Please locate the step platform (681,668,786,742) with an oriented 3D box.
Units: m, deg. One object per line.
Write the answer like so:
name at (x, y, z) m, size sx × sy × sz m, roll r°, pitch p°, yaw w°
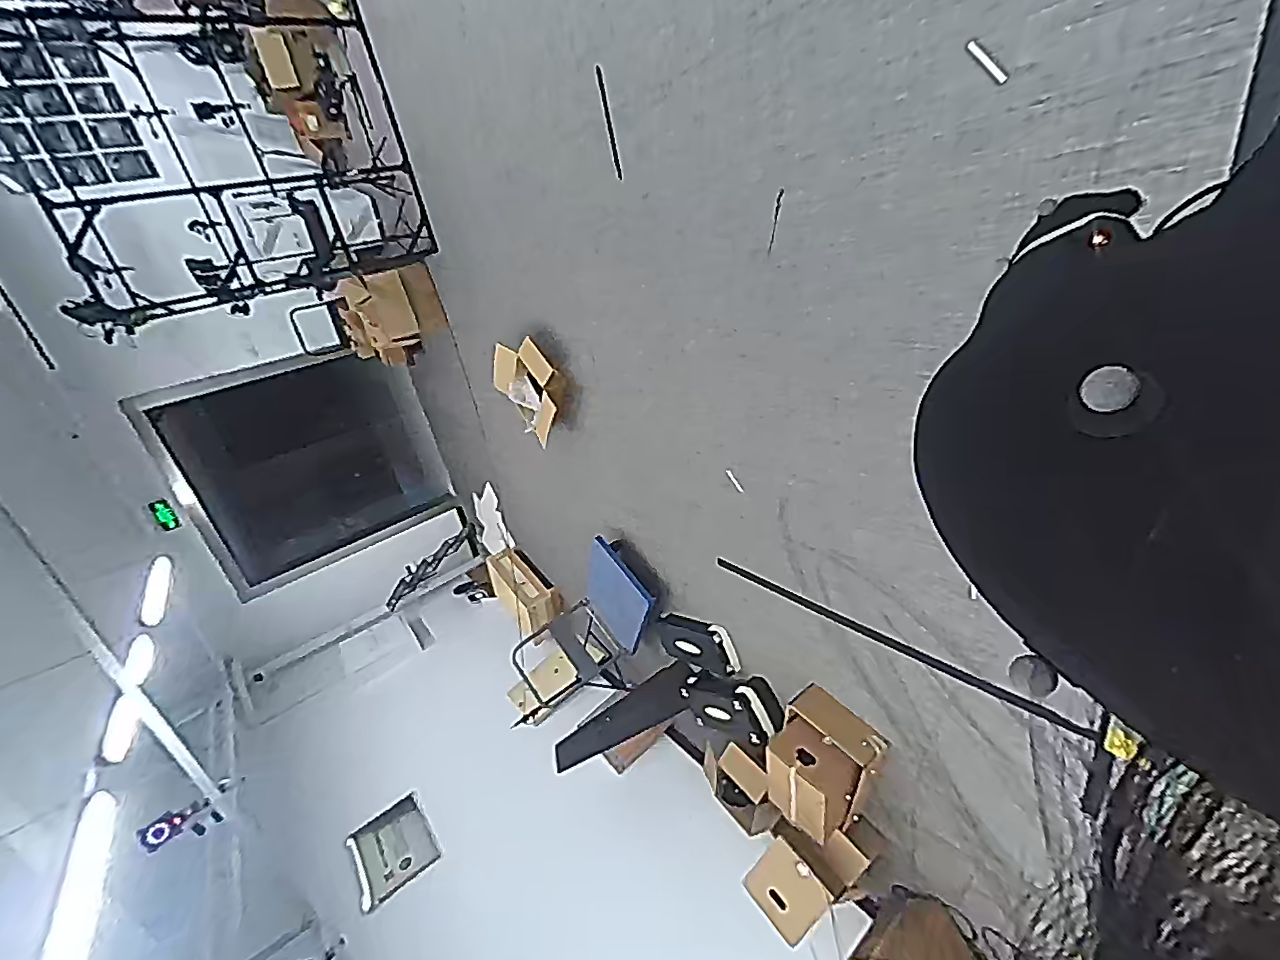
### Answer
step platform at (0.510, 1.284, 3.119) m, size 0.286 × 0.204 × 0.684 m, roll 62°, pitch 150°, yaw 0°
